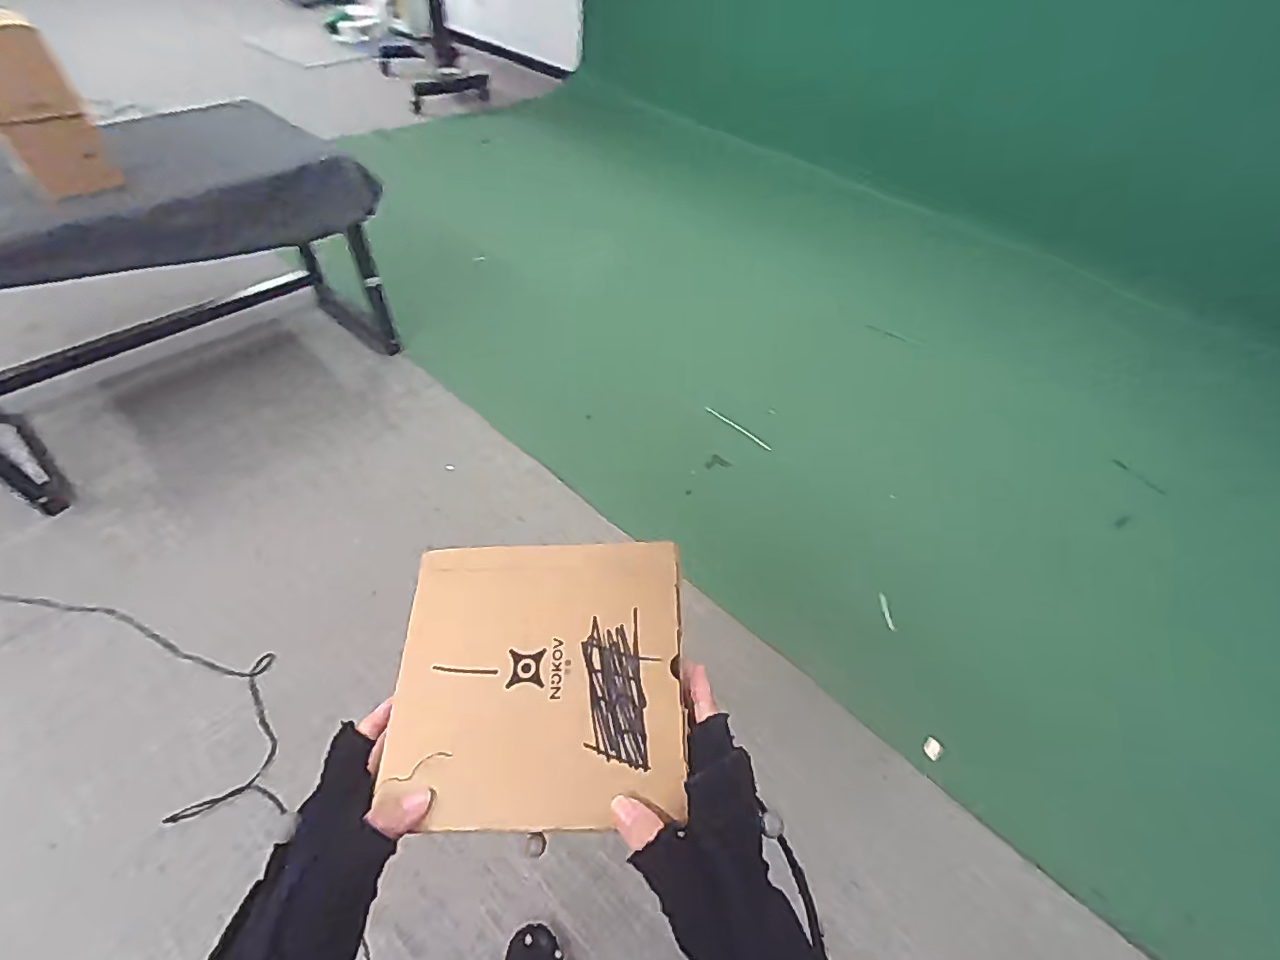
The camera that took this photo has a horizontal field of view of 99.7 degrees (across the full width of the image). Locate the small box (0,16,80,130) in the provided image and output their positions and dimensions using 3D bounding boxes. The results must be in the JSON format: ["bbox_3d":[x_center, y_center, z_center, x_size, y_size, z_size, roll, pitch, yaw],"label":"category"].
[{"bbox_3d":[-1.426,-0.914,1.214,0.168,0.176,0.179,36,55,24],"label":"small box"}]

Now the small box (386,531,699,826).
[{"bbox_3d":[-0.060,0.151,0.407,0.179,0.176,0.168,-5,60,-2],"label":"small box"}]

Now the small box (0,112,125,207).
[{"bbox_3d":[-1.440,-0.808,1.339,0.168,0.176,0.179,34,56,23],"label":"small box"}]
